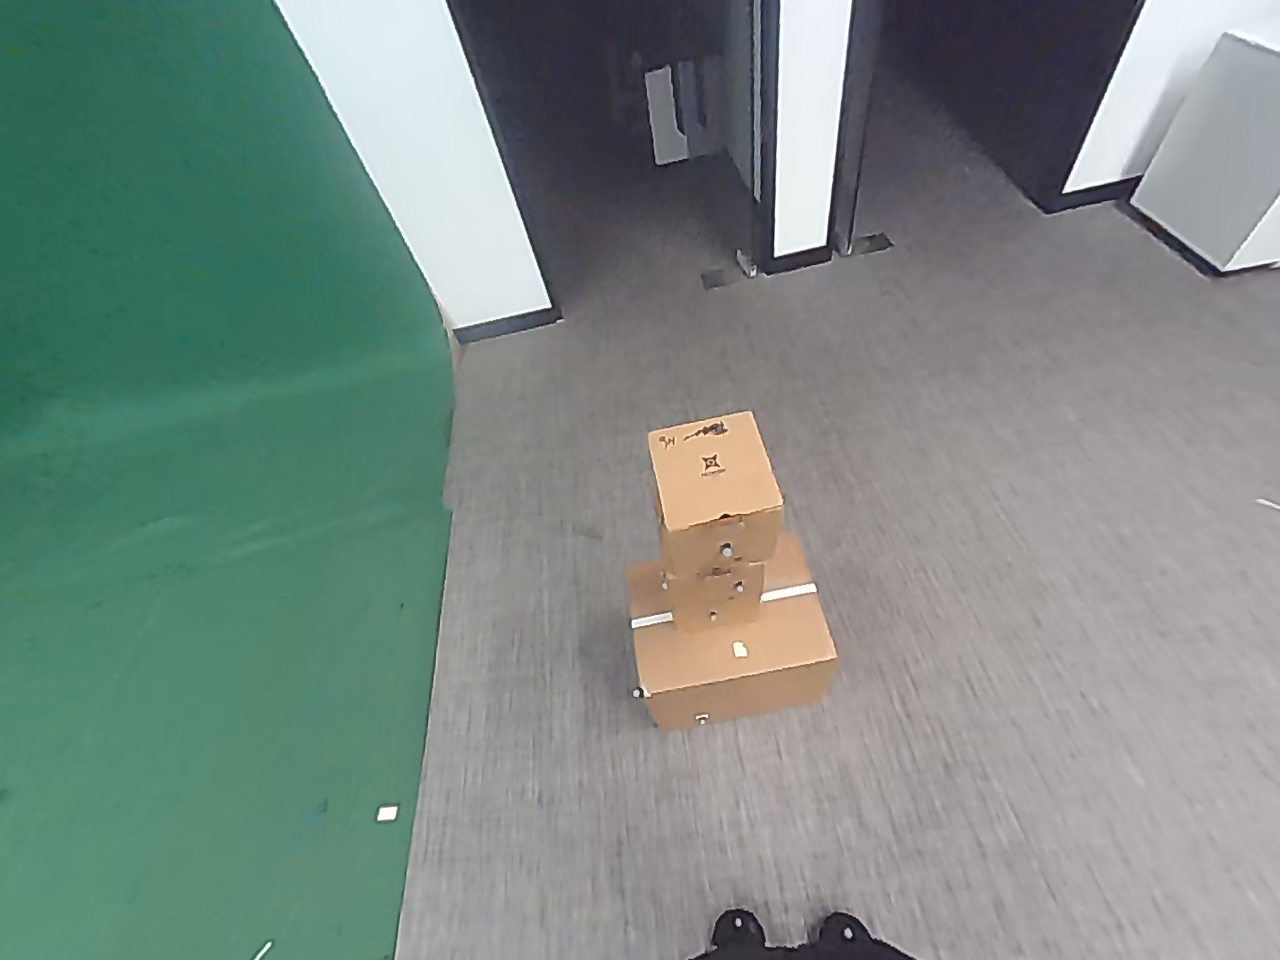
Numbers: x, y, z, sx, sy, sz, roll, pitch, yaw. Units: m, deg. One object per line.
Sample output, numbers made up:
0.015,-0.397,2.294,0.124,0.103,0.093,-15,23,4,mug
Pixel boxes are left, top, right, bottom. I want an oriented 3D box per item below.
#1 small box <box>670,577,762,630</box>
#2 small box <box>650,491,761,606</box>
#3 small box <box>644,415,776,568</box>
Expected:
0.146,0.201,1.131,0.179,0.176,0.168,-11,58,3,small box
0.120,0.120,0.994,0.168,0.176,0.179,-11,57,2,small box
0.110,0.028,0.858,0.168,0.176,0.179,-12,59,2,small box
